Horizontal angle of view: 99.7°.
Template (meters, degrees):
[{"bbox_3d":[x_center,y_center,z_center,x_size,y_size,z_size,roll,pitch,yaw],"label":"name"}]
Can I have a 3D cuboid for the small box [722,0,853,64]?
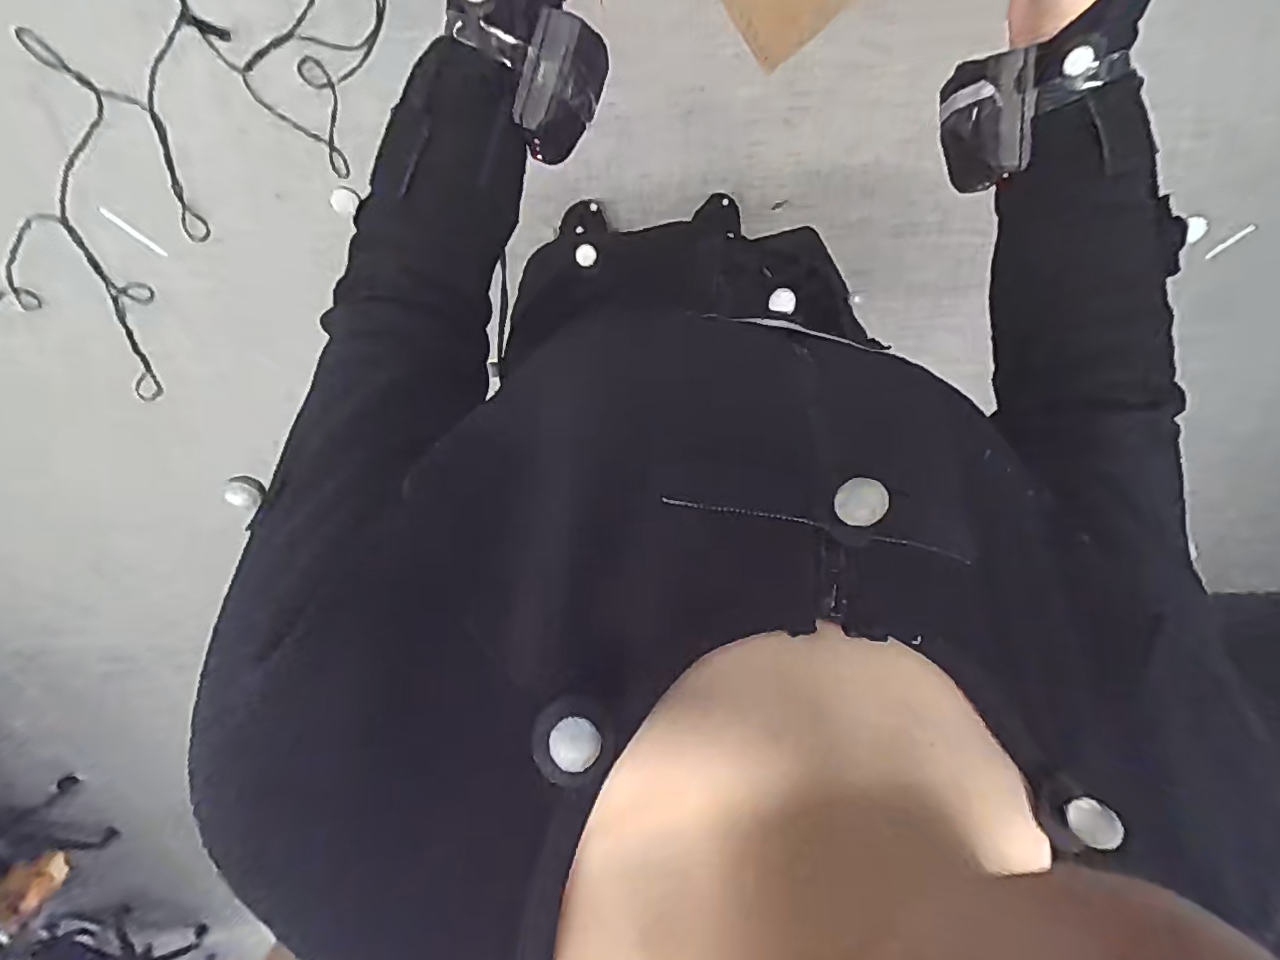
[{"bbox_3d":[0.092,-0.336,0.233,0.179,0.176,0.168,-38,107,15],"label":"small box"}]
